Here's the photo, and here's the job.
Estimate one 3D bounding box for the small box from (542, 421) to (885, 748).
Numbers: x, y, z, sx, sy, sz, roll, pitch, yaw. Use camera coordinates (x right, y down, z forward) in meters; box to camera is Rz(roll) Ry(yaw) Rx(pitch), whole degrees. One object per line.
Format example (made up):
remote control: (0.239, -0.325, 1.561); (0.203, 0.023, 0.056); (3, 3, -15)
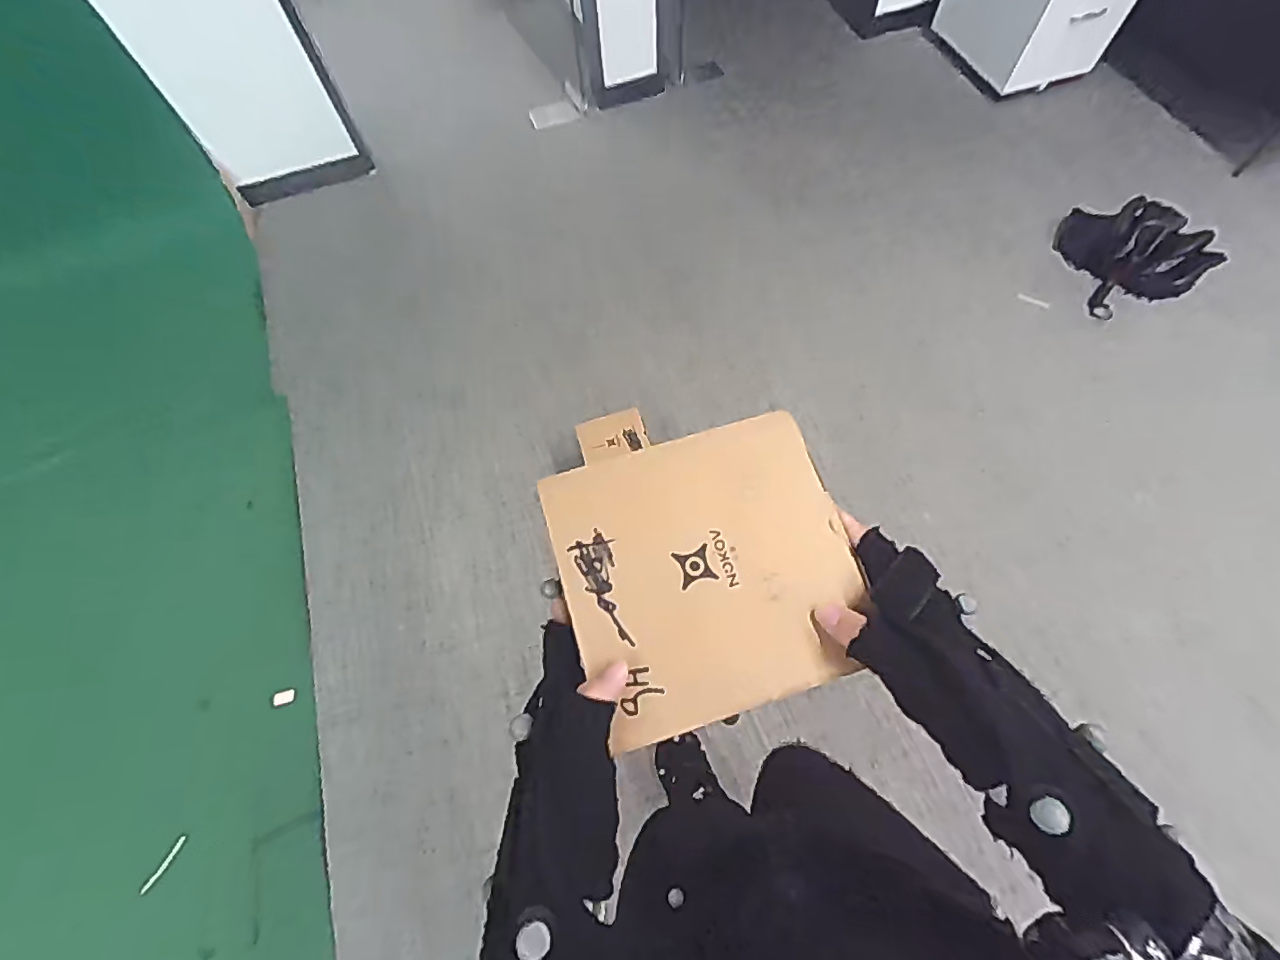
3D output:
small box: (0.038, 0.081, 0.404); (0.179, 0.176, 0.168); (-15, 69, -7)

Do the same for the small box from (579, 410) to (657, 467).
small box: (-0.052, -0.057, 1.447); (0.179, 0.176, 0.168); (-18, 66, -6)
